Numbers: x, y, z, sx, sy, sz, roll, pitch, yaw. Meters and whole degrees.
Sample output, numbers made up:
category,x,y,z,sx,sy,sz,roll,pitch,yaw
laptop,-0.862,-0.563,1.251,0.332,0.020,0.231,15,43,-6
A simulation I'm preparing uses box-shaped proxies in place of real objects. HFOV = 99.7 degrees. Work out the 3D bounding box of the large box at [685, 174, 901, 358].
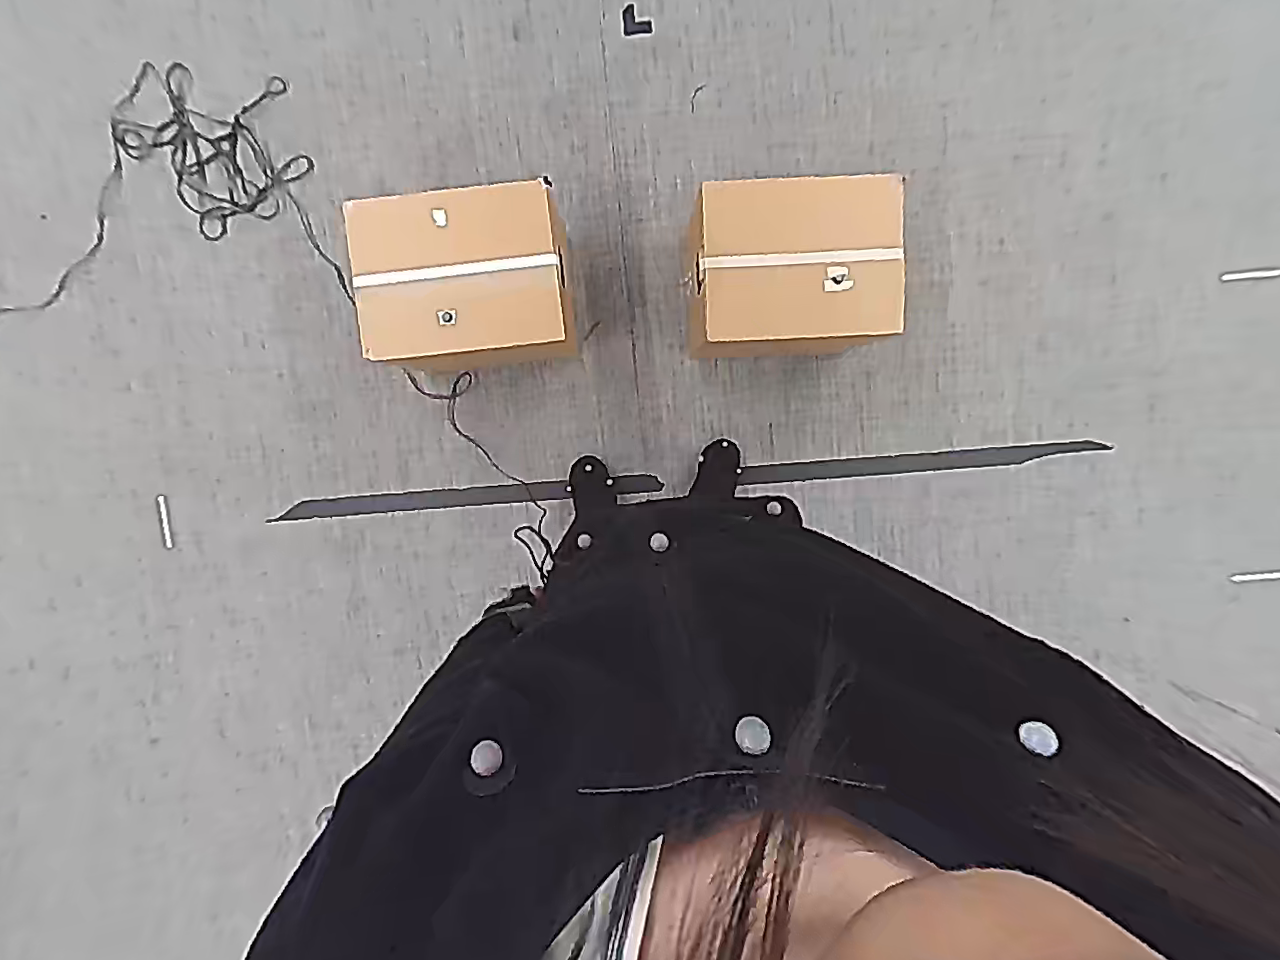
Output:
category,x,y,z,sx,sy,sz,roll,pitch,yaw
large box,0.324,-0.464,1.240,0.408,0.320,0.320,-2,96,-1
